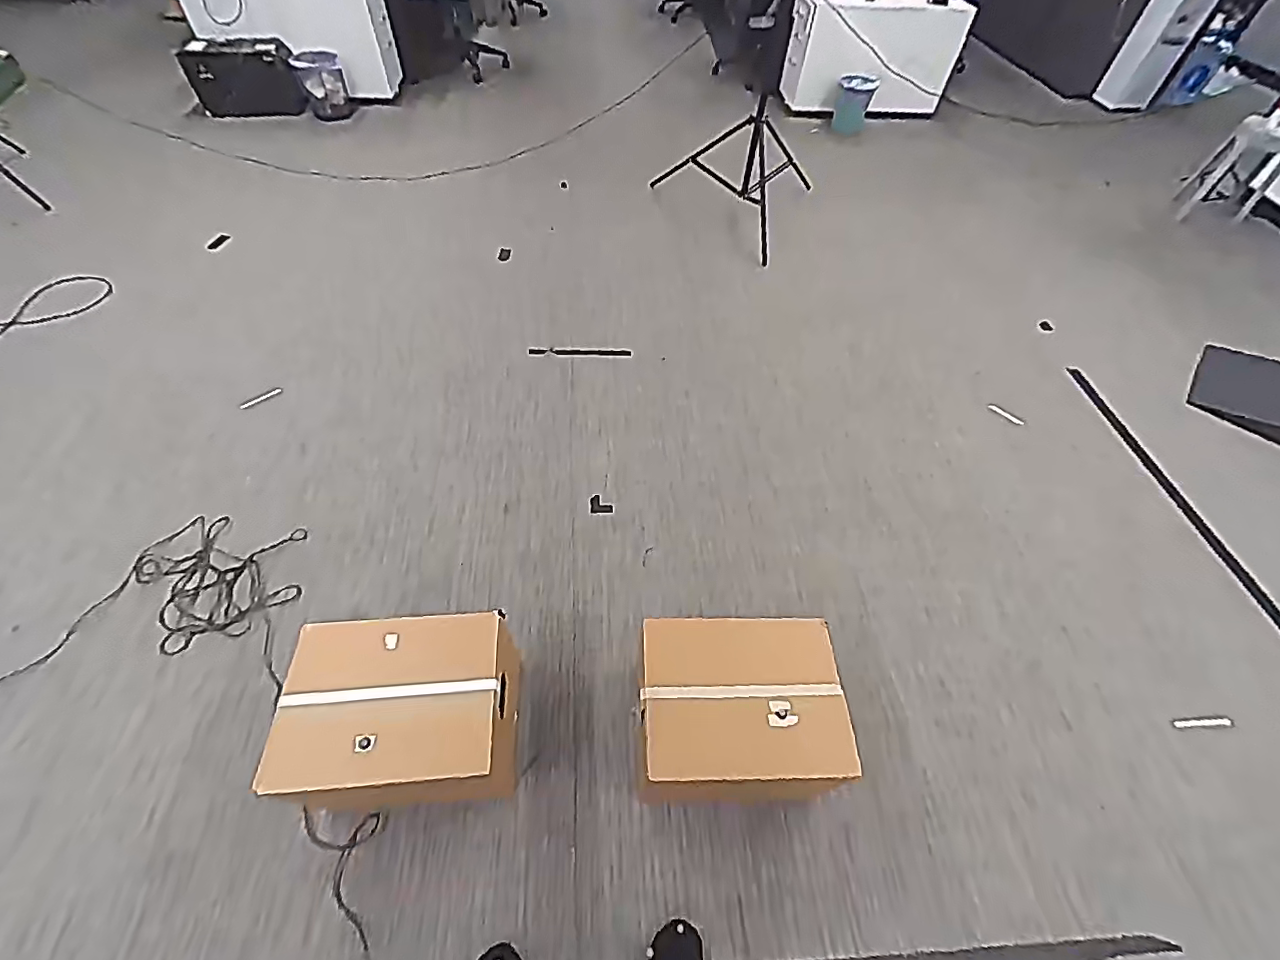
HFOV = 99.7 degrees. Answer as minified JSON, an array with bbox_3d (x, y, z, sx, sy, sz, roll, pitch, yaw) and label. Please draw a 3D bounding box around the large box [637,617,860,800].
[{"bbox_3d":[0.205,0.515,1.214,0.408,0.320,0.320,1,53,-4],"label":"large box"}]
